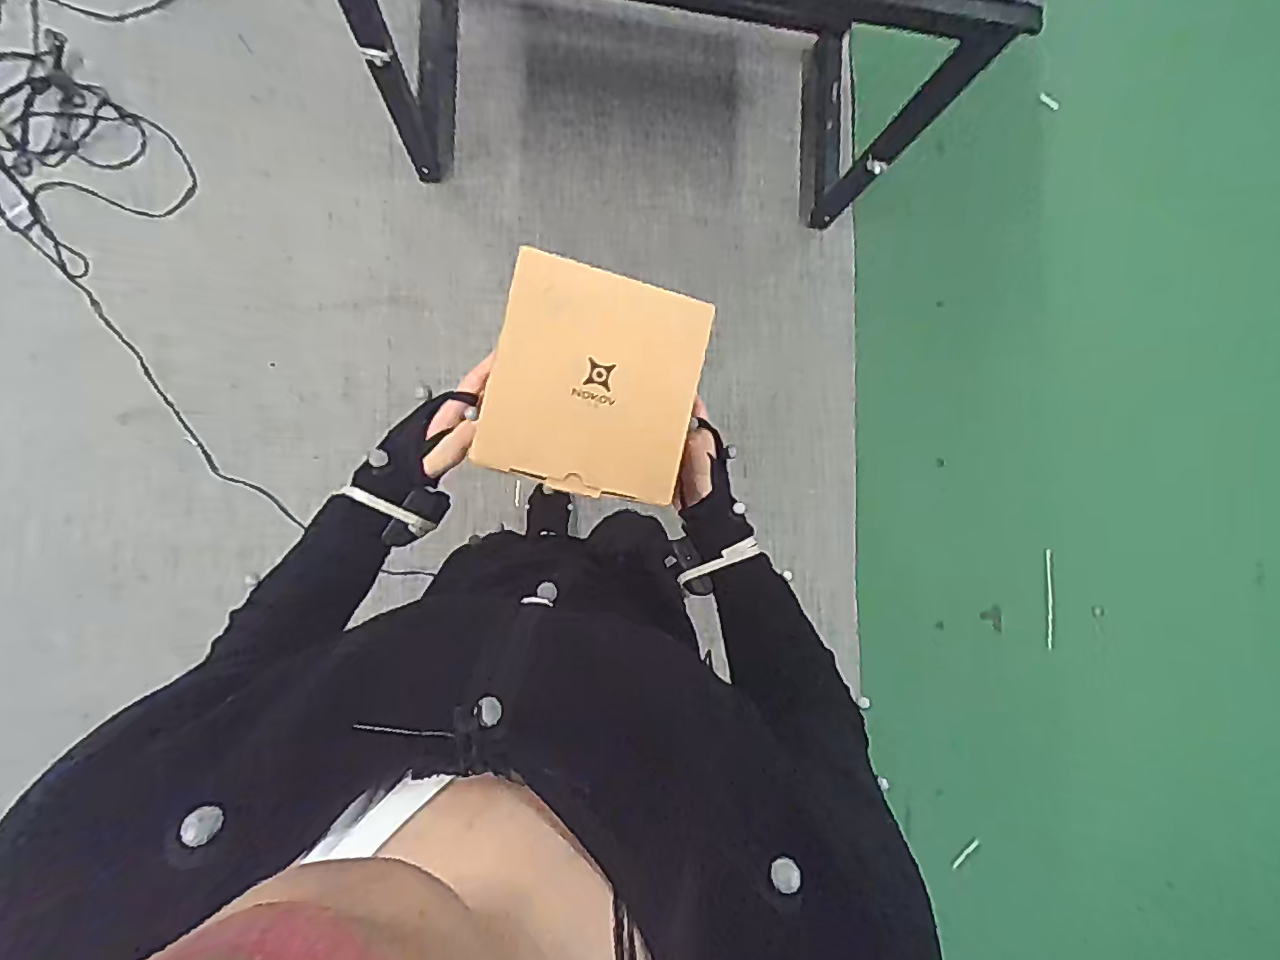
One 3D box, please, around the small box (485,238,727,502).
[{"bbox_3d":[-0.040,-0.086,0.506,0.168,0.176,0.179,13,88,-12],"label":"small box"}]
